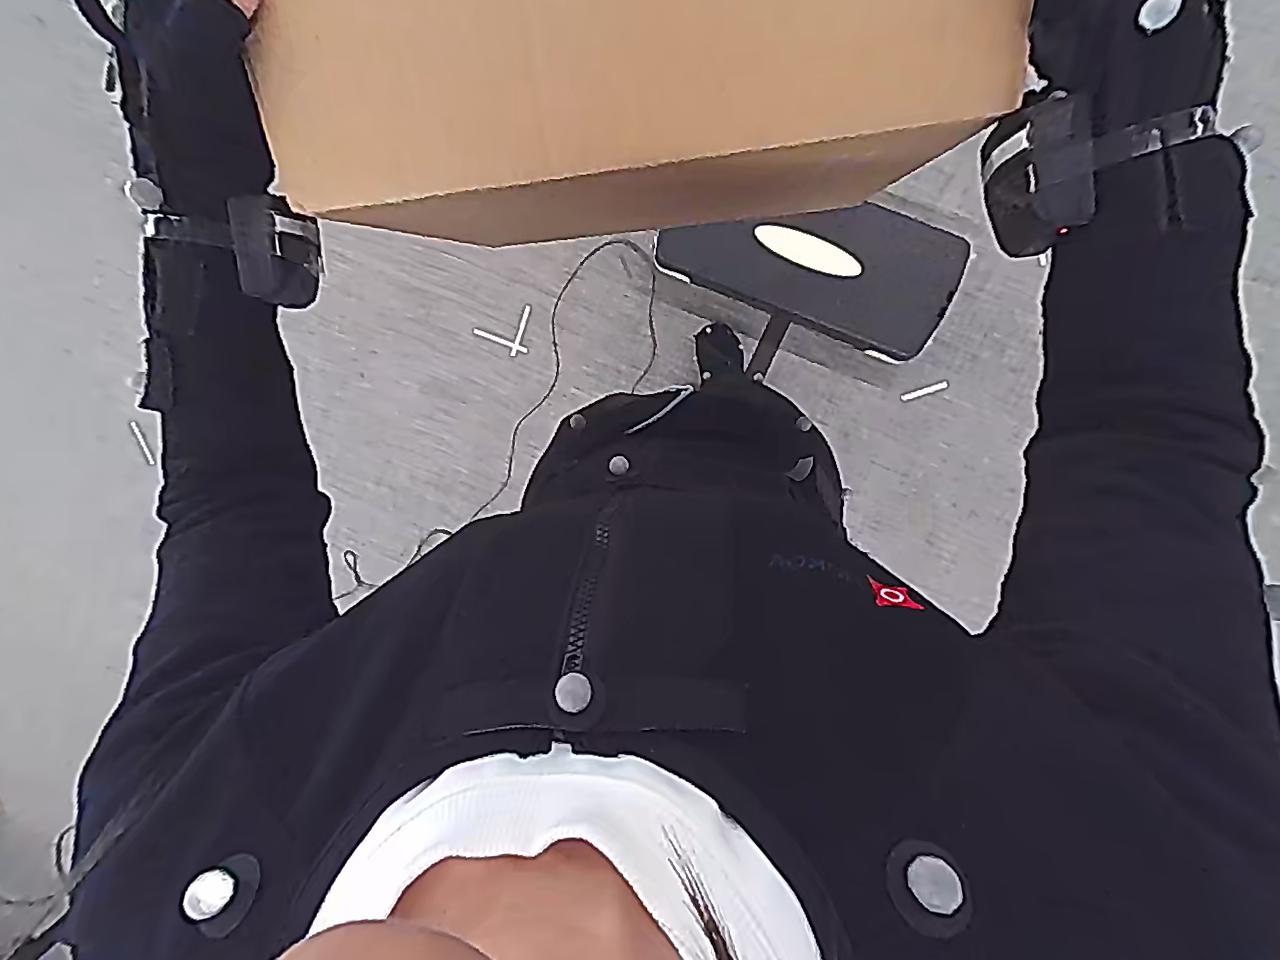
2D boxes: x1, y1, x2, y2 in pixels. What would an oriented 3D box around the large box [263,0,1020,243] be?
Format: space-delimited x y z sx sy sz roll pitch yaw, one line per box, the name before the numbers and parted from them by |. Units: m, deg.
large box | -0.006 -0.379 0.400 0.408 0.320 0.320 -4 110 8
